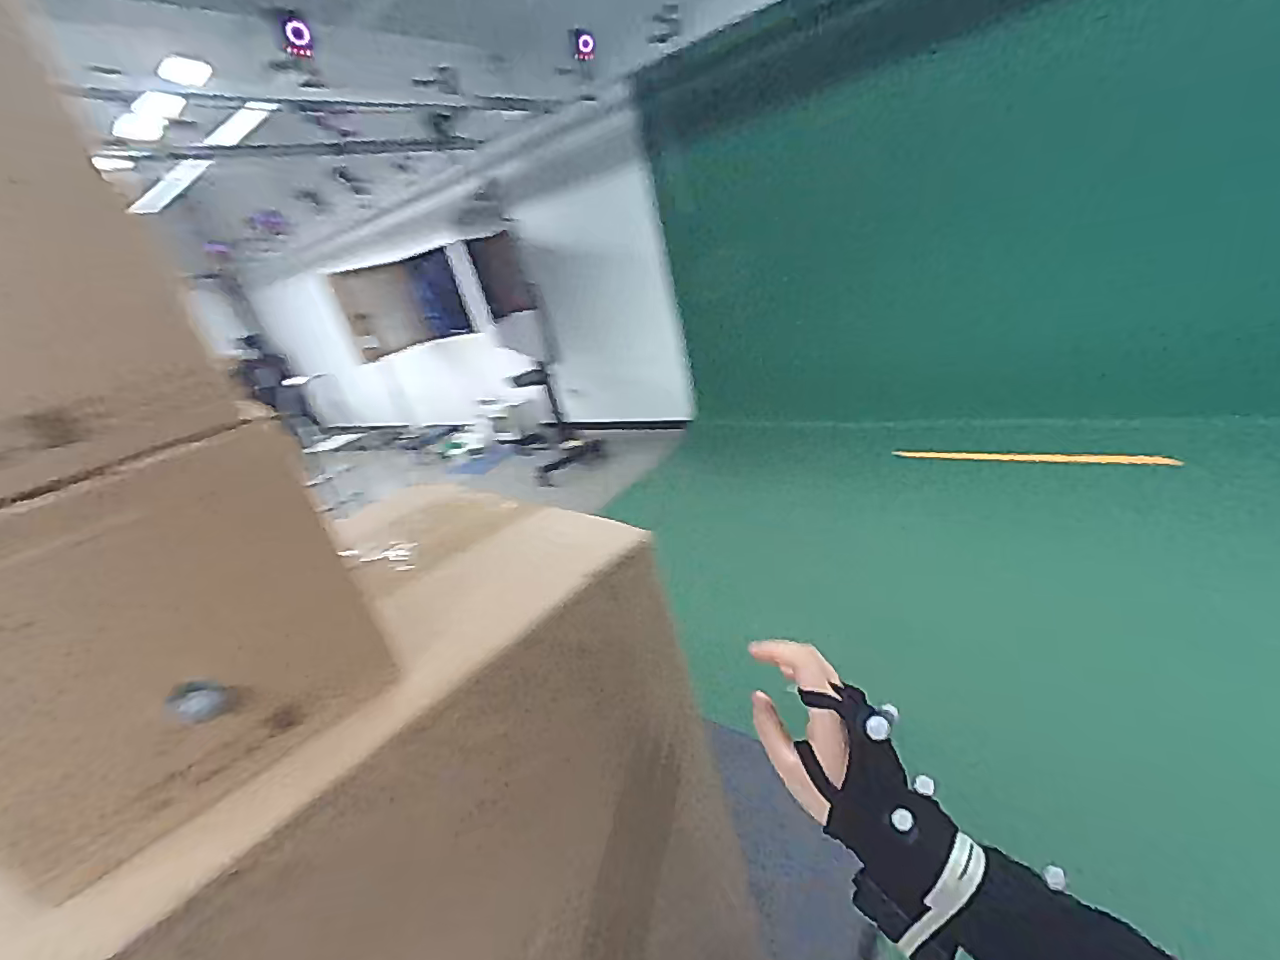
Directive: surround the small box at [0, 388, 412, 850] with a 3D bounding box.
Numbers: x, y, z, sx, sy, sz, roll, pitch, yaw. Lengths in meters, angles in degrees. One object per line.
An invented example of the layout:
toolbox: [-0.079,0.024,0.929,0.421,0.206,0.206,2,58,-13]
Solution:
small box: [-0.264,0.057,0.313,0.168,0.176,0.179,-31,31,-35]
